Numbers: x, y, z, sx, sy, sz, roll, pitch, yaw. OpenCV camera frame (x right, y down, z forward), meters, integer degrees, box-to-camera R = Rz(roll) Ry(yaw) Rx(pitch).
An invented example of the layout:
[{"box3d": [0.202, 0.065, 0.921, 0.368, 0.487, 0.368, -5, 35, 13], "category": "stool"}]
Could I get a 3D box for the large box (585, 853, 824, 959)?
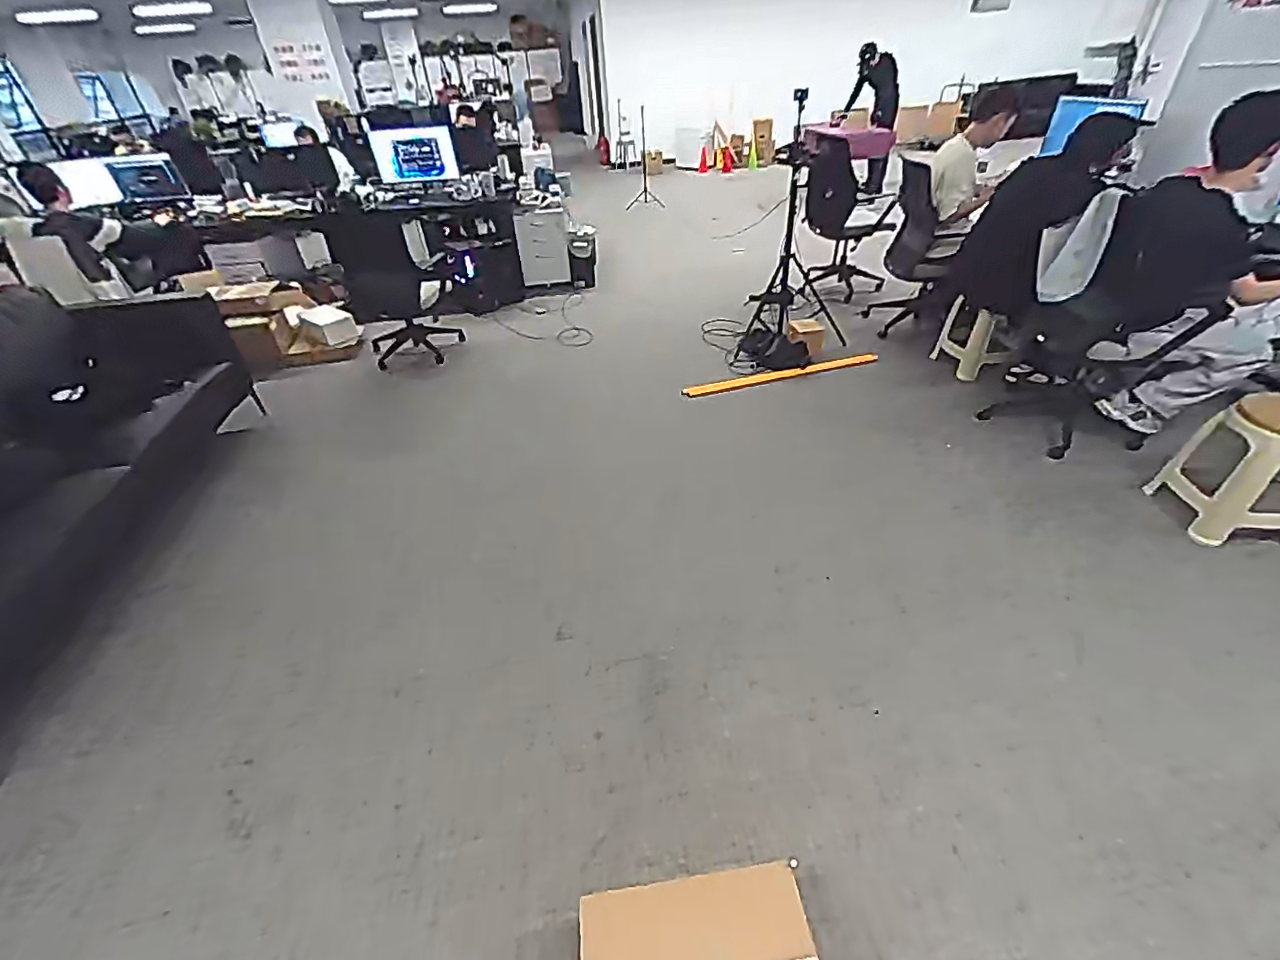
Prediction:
[{"box3d": [0.123, 0.952, 0.990, 0.408, 0.320, 0.320, -8, 38, -4], "category": "large box"}]
